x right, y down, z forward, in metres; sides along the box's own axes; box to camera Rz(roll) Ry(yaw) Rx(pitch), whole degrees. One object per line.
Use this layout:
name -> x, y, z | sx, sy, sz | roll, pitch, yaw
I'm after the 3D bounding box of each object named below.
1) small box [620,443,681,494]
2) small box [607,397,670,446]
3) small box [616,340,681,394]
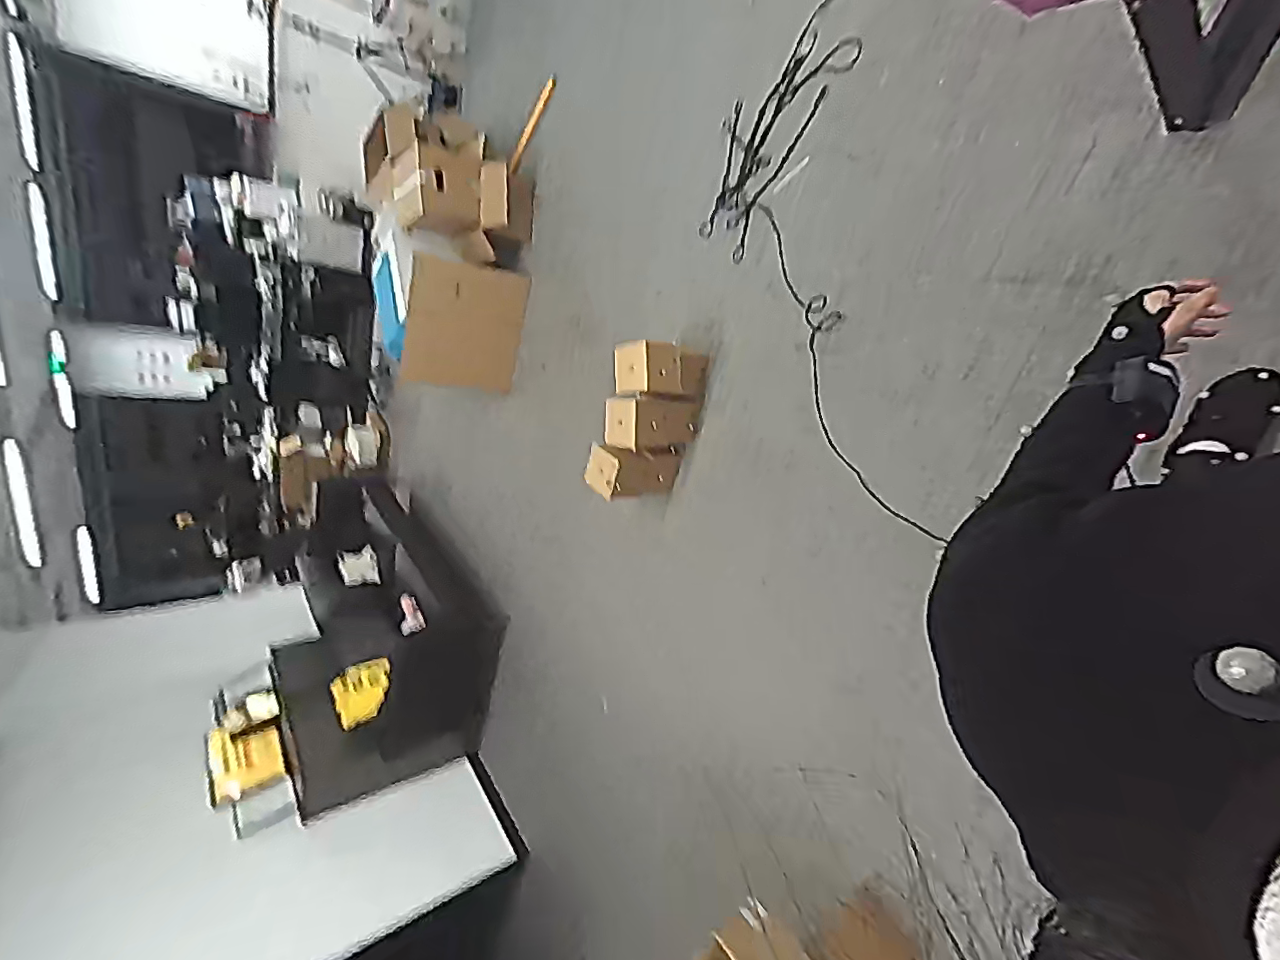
small box -> 0.047, -0.060, 2.213 | 0.168, 0.176, 0.179 | 37, 121, 42
small box -> -0.004, -0.220, 2.007 | 0.179, 0.176, 0.168 | 14, 104, 49
small box -> 0.035, -0.402, 1.940 | 0.179, 0.176, 0.168 | 2, 95, 51
